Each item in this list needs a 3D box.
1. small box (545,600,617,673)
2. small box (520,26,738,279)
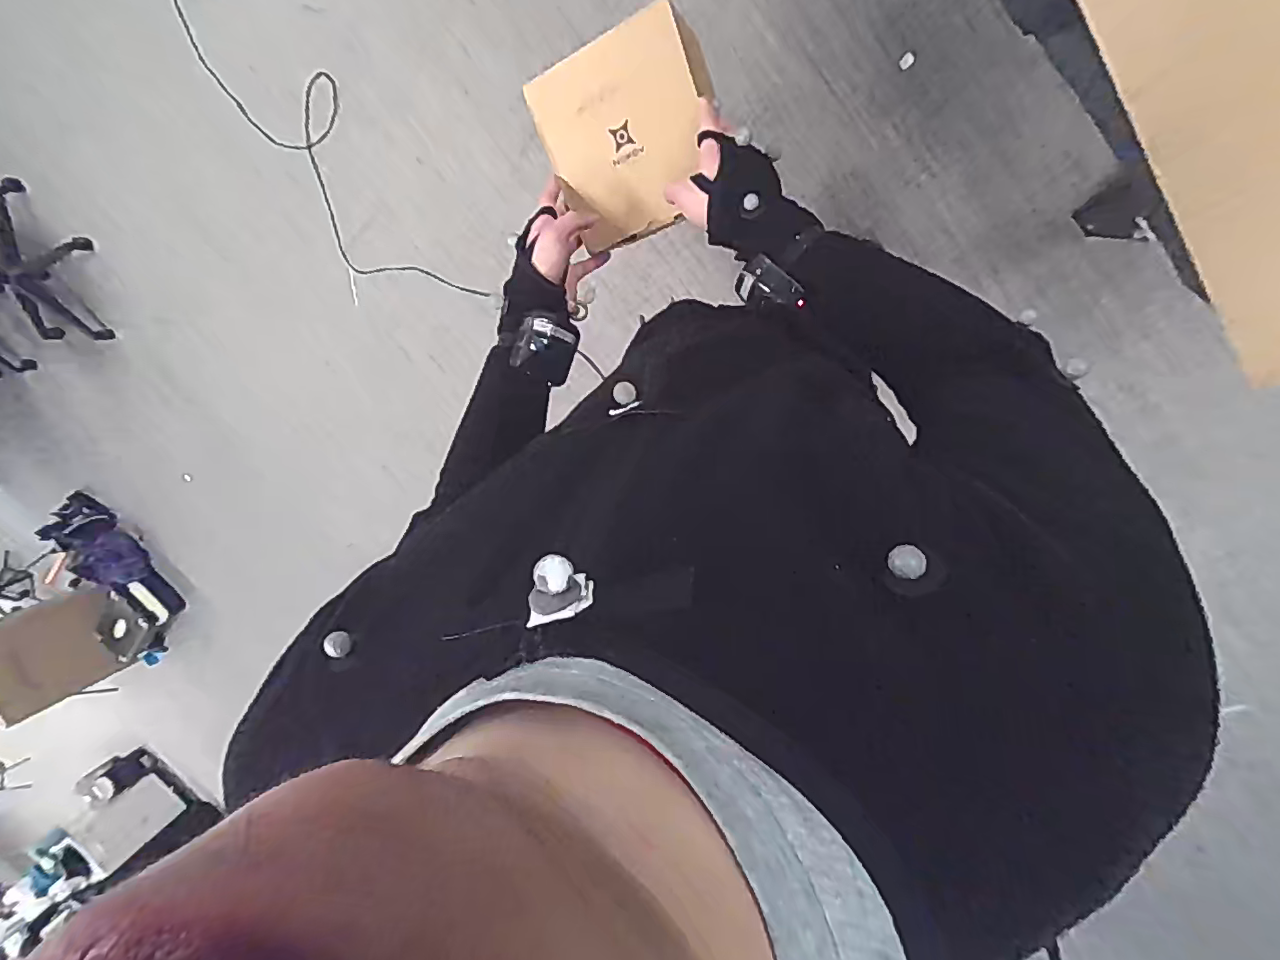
[{"bbox_3d":[-0.217,0.584,2.026,0.179,0.176,0.168,-35,99,31],"label":"small box"},{"bbox_3d":[0.003,-0.355,0.611,0.168,0.176,0.179,-15,112,24],"label":"small box"}]
